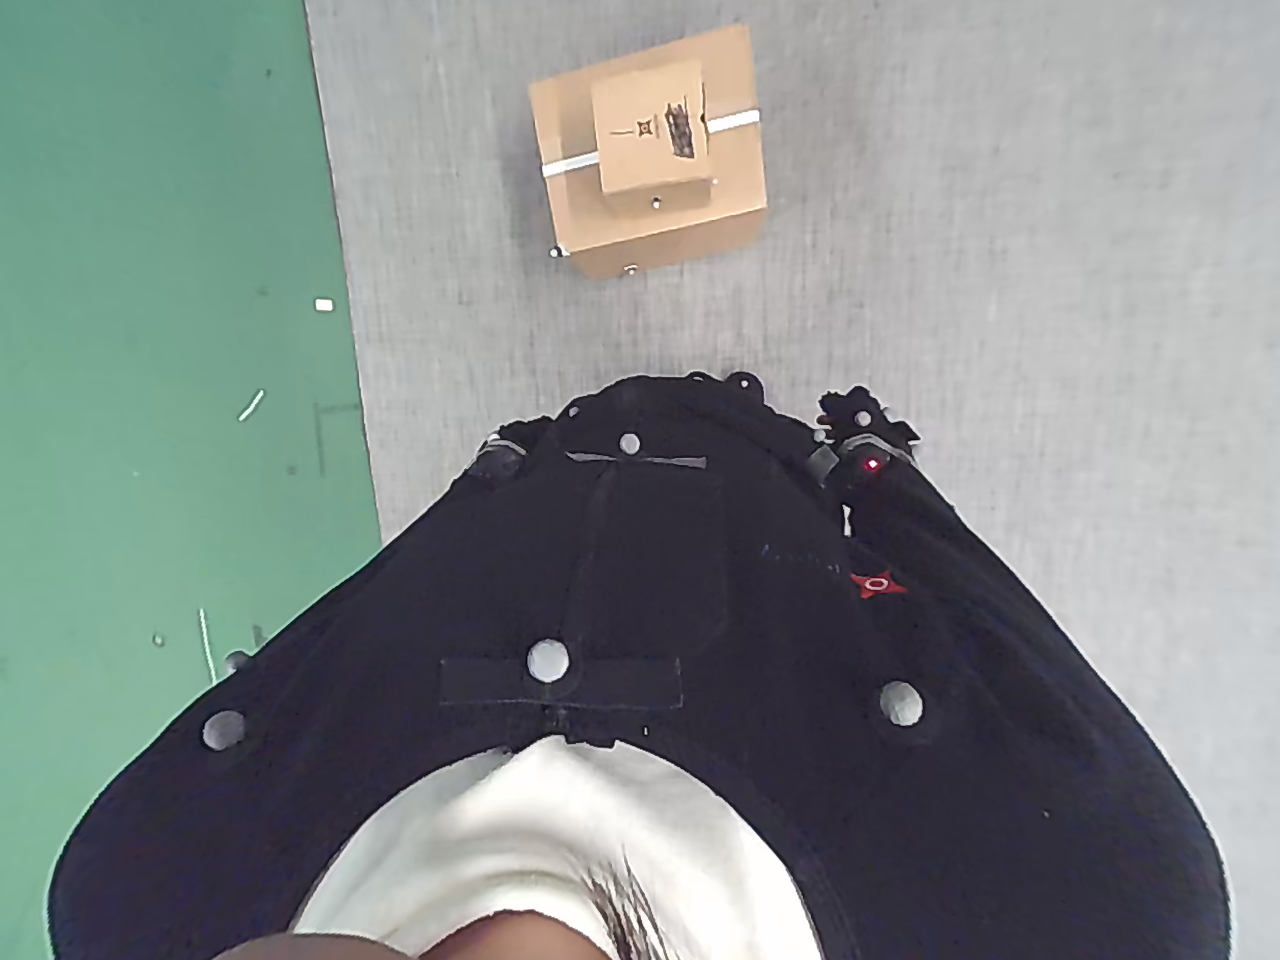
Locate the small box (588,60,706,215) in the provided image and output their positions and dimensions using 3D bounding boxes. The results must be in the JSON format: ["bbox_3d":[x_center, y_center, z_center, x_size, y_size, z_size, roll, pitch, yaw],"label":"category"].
[{"bbox_3d":[0.021,-0.573,0.928,0.179,0.176,0.168,-4,101,9],"label":"small box"}]
